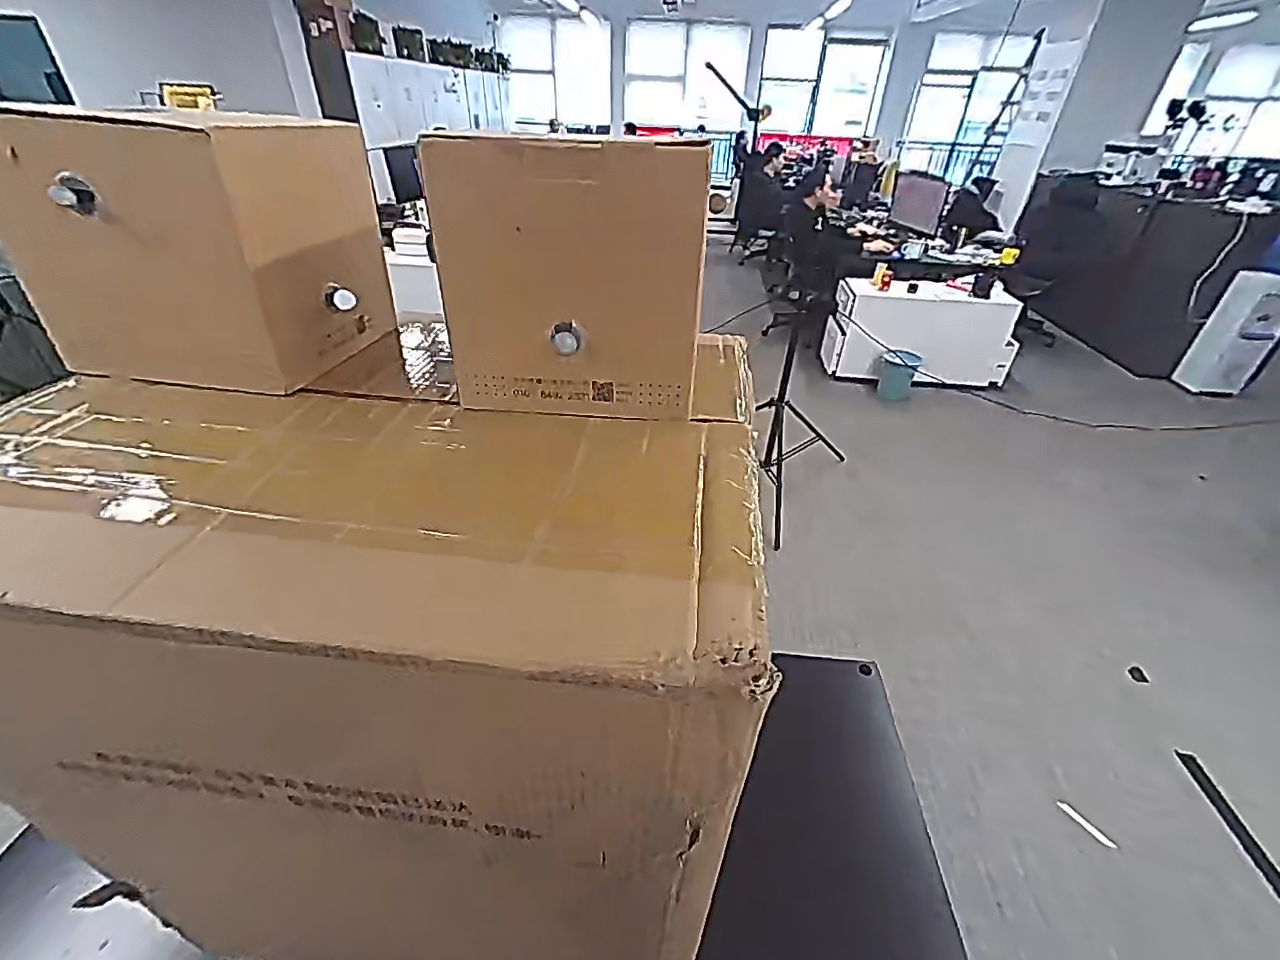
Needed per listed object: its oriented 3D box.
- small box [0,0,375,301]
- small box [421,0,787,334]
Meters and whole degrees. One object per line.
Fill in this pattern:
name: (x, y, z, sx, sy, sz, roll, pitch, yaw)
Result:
small box: (-0.301, -0.219, 0.338, 0.179, 0.176, 0.168, 7, 34, 3)
small box: (-0.015, -0.200, 0.330, 0.168, 0.176, 0.179, 3, 33, 3)
